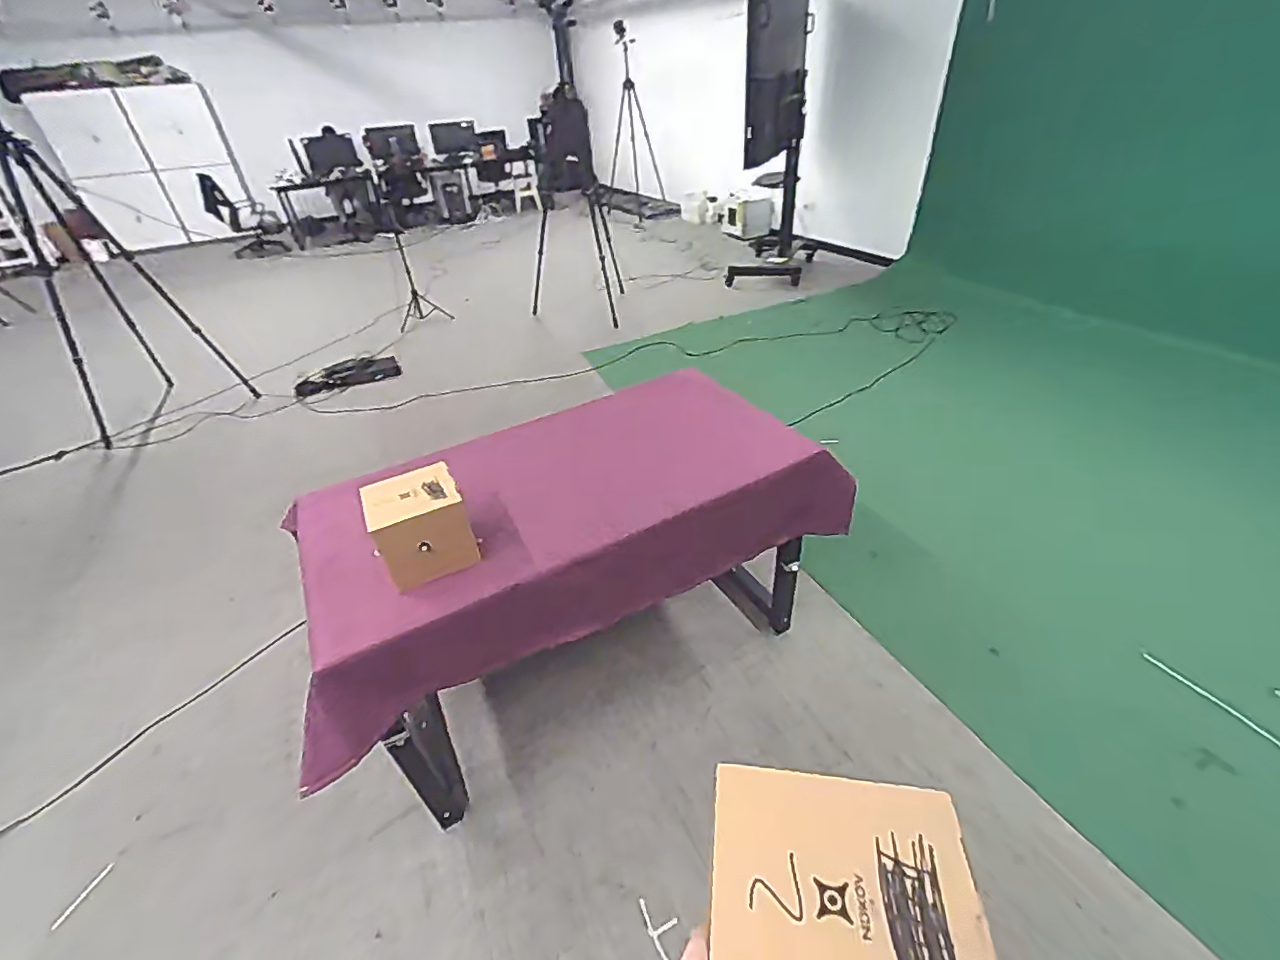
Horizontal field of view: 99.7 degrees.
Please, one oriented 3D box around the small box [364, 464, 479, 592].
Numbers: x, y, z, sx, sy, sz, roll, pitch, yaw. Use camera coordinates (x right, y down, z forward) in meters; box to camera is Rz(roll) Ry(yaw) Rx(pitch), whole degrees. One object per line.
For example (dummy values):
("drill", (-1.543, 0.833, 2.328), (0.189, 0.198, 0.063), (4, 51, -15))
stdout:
("small box", (-0.445, 0.098, 1.119), (0.179, 0.176, 0.168), (-21, 39, -20))
